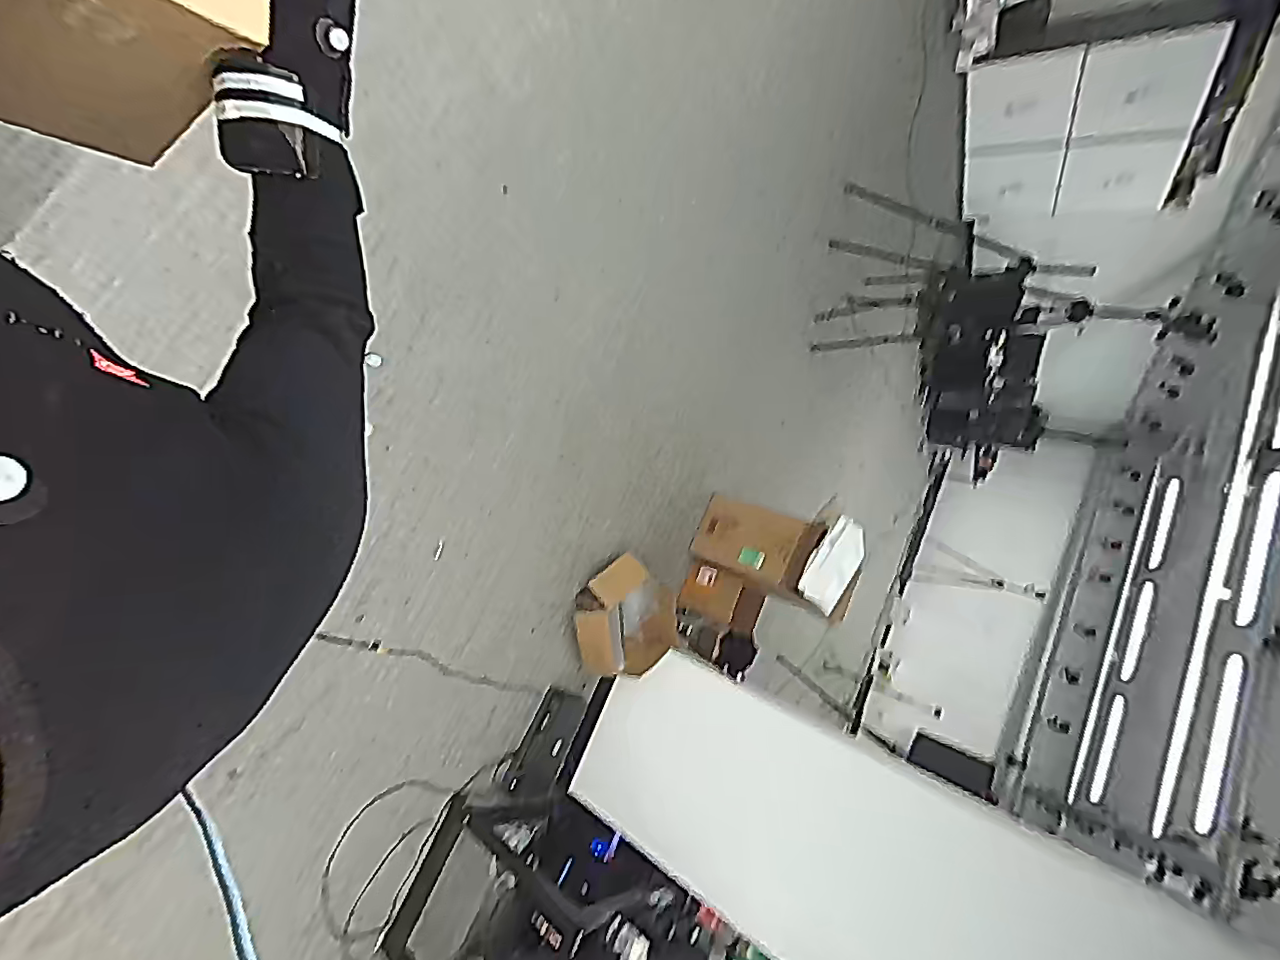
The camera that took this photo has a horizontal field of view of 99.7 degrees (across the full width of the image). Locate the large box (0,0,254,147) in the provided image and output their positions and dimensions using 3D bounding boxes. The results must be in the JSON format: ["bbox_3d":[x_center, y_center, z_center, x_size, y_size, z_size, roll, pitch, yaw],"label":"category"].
[{"bbox_3d":[-0.494,-0.449,0.275,0.408,0.320,0.320,-6,101,-53],"label":"large box"}]
